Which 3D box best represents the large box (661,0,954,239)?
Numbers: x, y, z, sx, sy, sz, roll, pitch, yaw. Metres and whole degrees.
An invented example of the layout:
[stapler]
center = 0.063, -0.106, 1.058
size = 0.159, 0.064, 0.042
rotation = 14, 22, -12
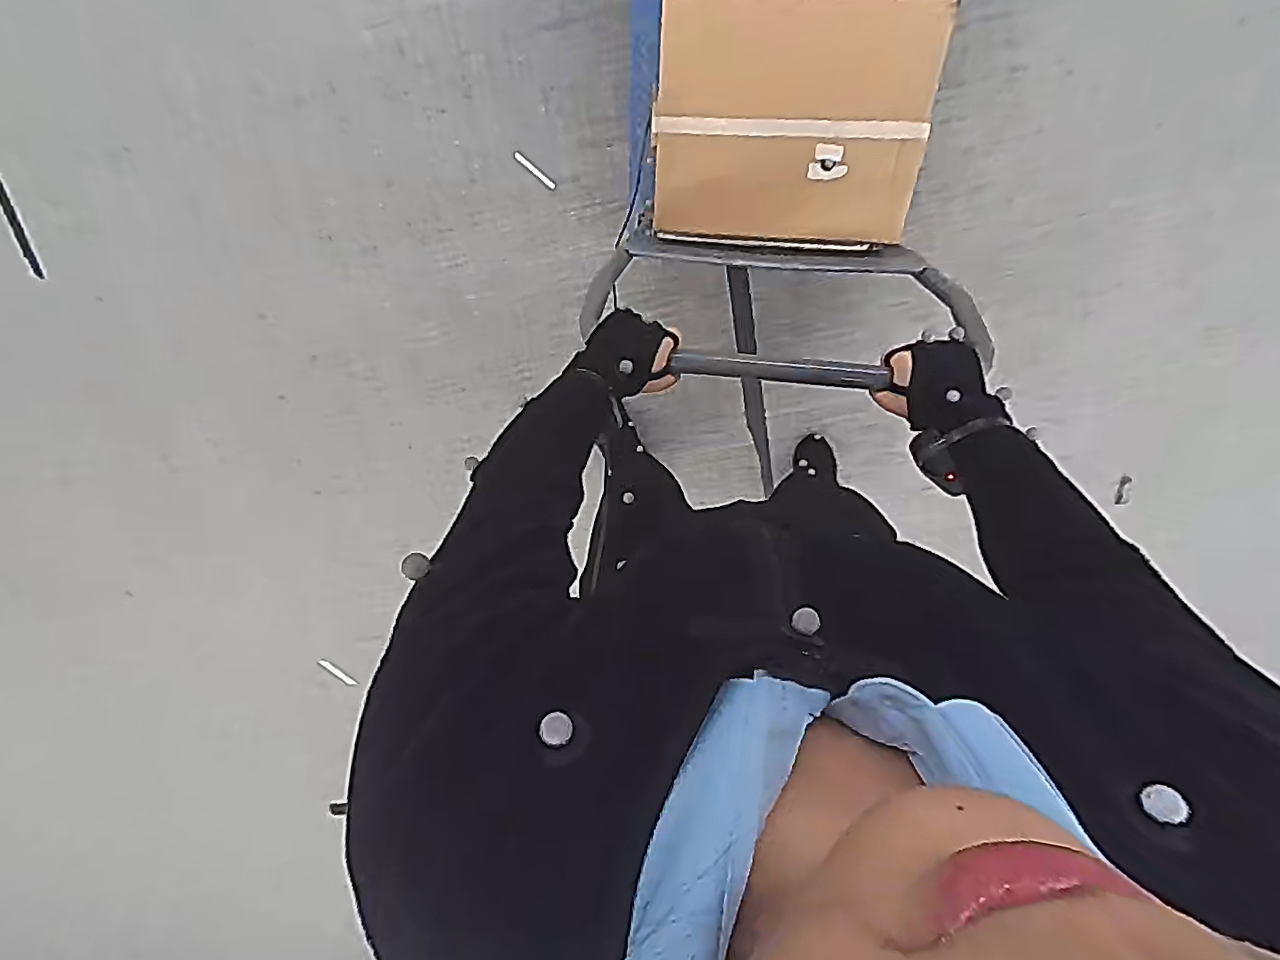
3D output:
[large box]
center = 0.252, -0.621, 0.966
size = 0.408, 0.320, 0.320
rotation = 5, 121, 5
